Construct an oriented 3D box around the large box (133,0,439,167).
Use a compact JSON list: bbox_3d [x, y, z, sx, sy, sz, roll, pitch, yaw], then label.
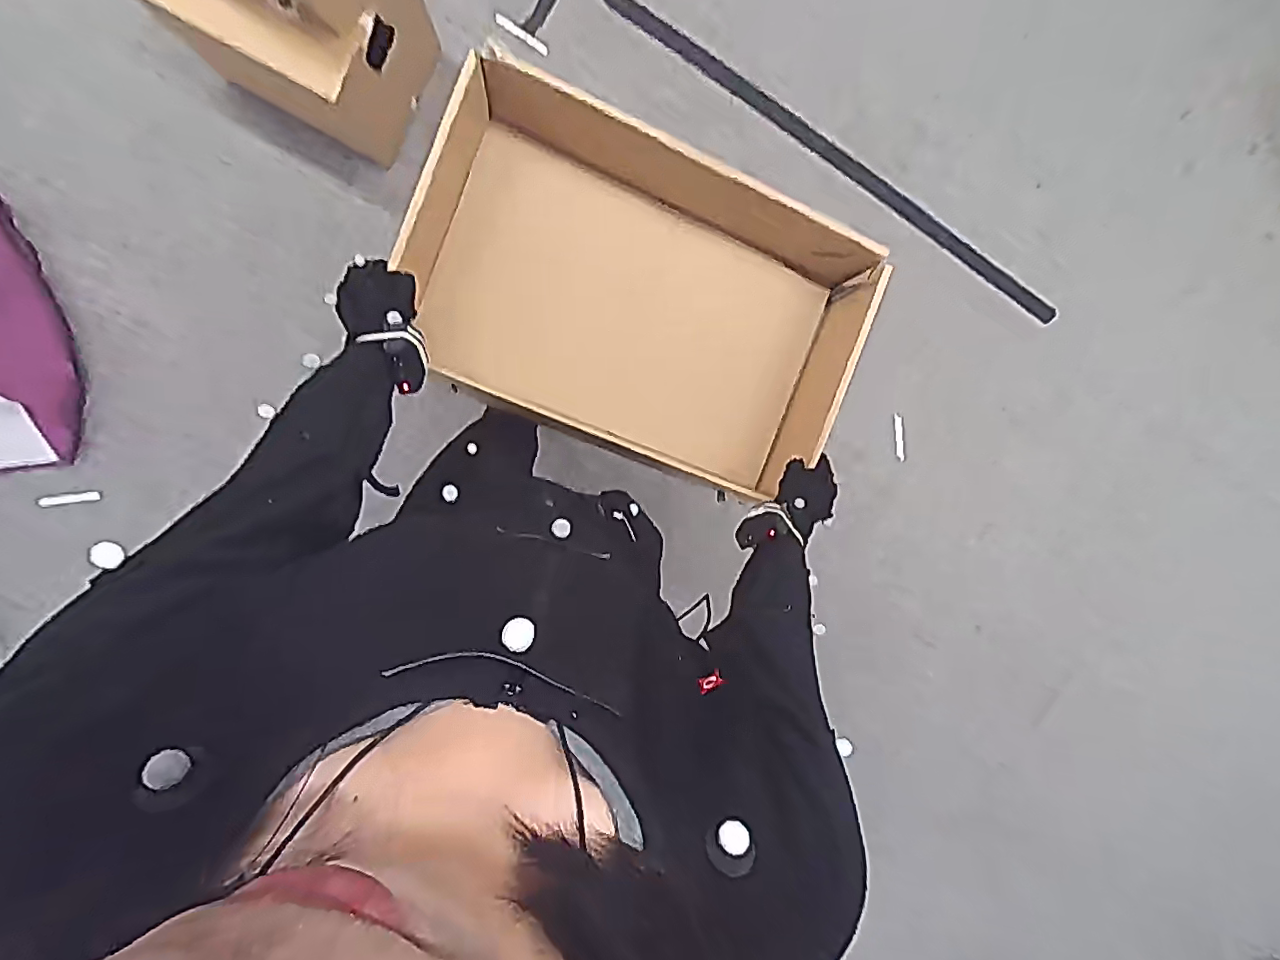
[{"bbox_3d":[-0.695,-0.946,1.117,0.408,0.320,0.320,25,96,-11],"label":"large box"}]
